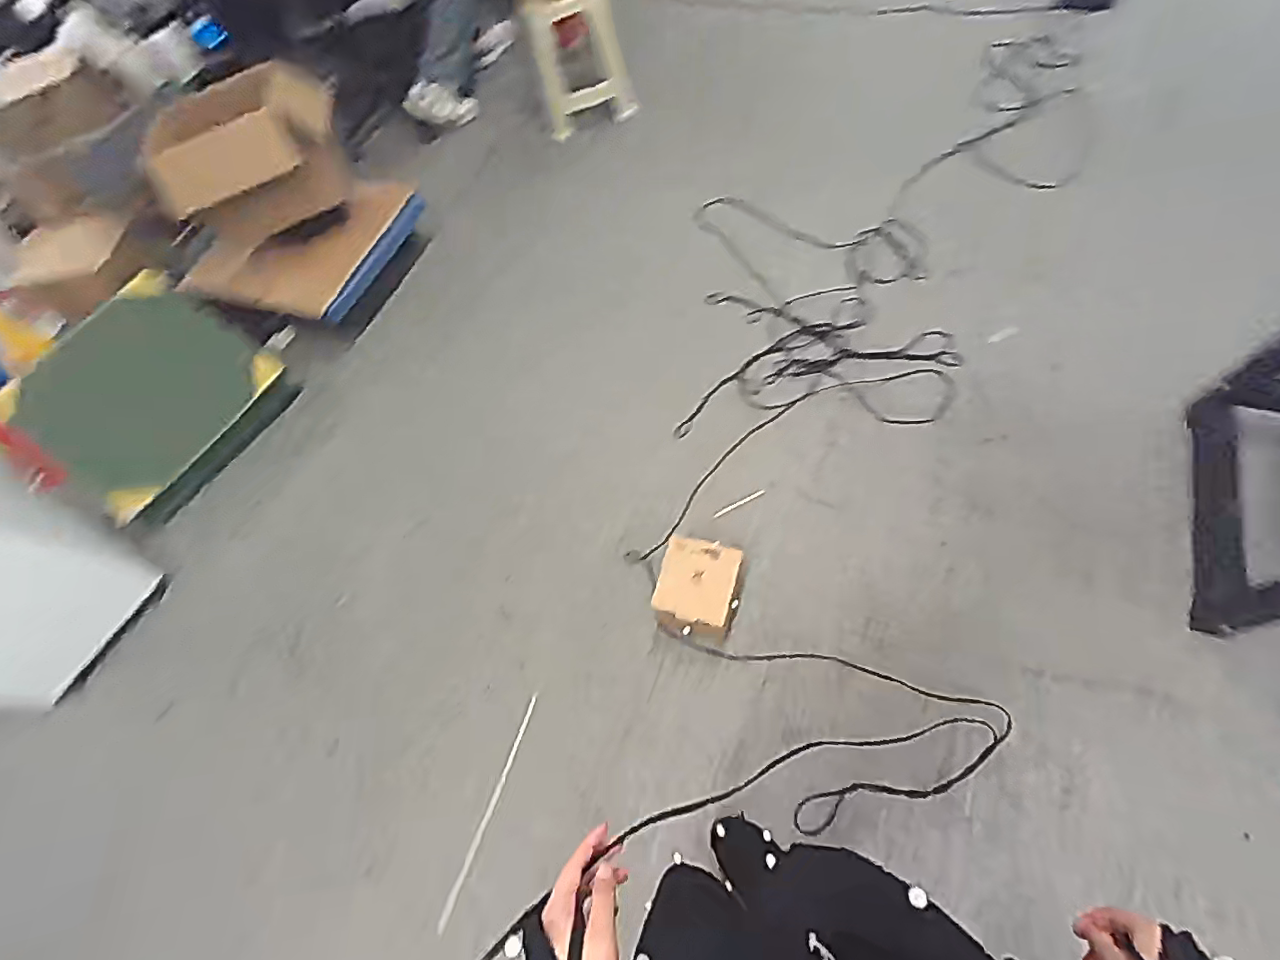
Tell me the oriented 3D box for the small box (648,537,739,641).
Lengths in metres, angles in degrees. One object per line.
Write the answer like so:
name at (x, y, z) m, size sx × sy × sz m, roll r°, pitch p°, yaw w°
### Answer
small box at (0.132, 0.257, 1.247) m, size 0.168 × 0.176 × 0.179 m, roll 12°, pitch 66°, yaw 16°
